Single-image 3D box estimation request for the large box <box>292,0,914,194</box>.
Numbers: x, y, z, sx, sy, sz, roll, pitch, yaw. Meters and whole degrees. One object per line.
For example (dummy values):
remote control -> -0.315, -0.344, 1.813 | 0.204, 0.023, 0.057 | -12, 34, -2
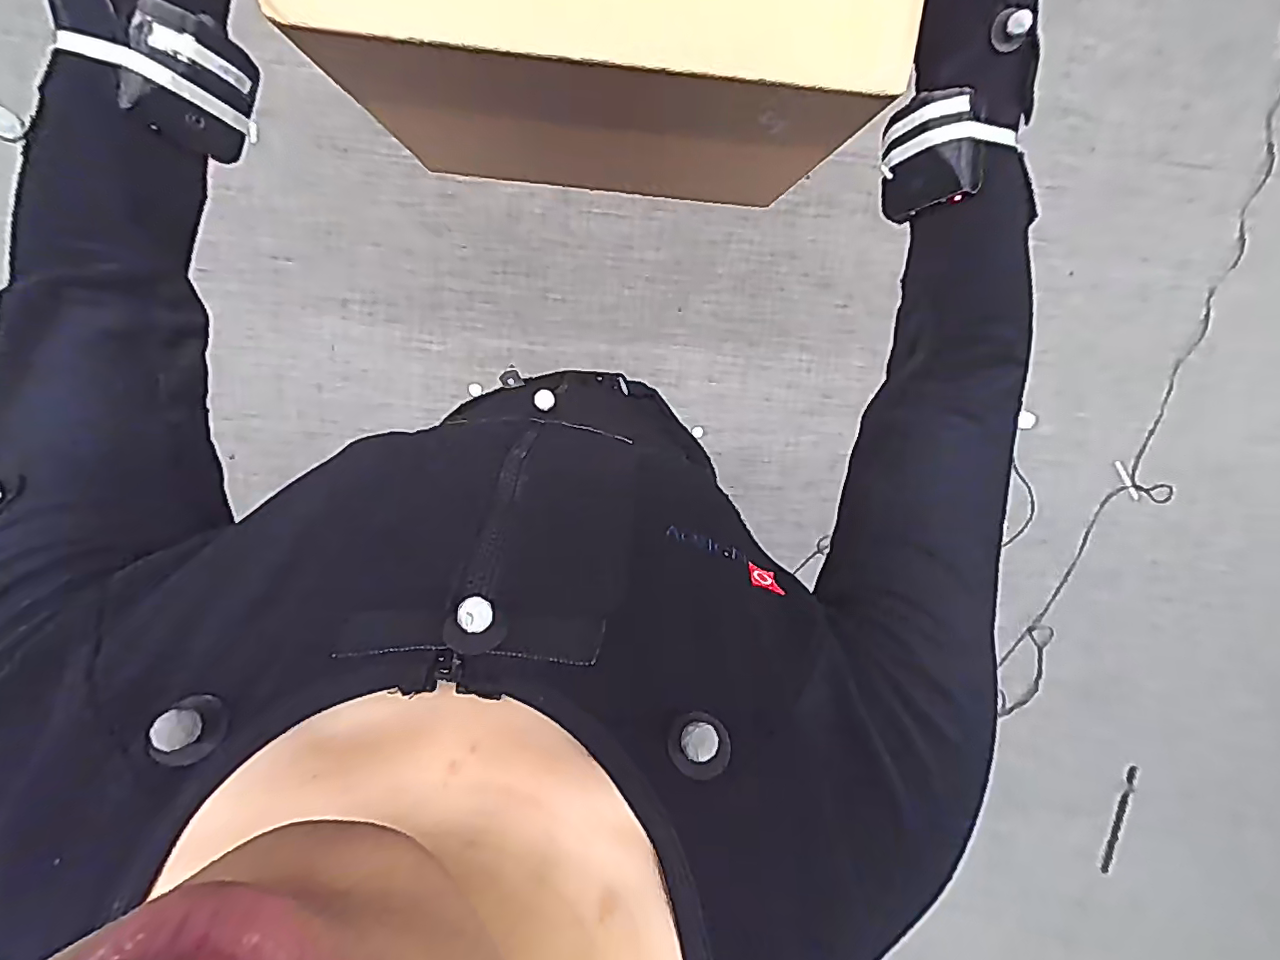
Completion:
large box -> -0.022, -0.460, 0.457 | 0.408, 0.320, 0.320 | 3, 105, -5
